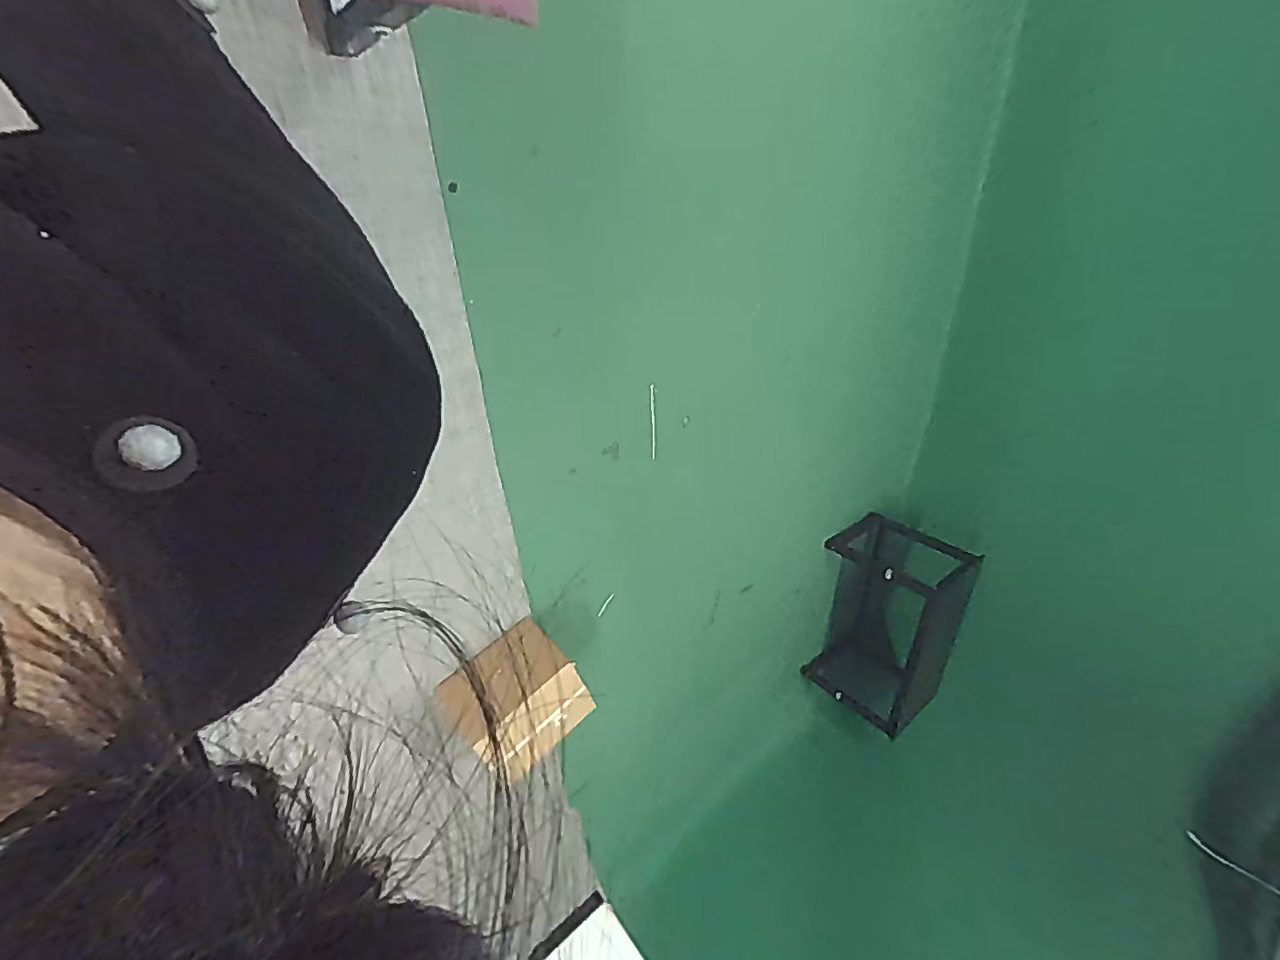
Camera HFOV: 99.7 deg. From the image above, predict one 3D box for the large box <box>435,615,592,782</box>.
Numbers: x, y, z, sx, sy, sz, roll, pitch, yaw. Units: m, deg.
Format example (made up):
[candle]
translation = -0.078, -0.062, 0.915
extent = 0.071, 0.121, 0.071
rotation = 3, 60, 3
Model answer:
[large box]
translation = -0.454, 0.785, 1.977
extent = 0.408, 0.320, 0.320
rotation = -37, 133, -24
